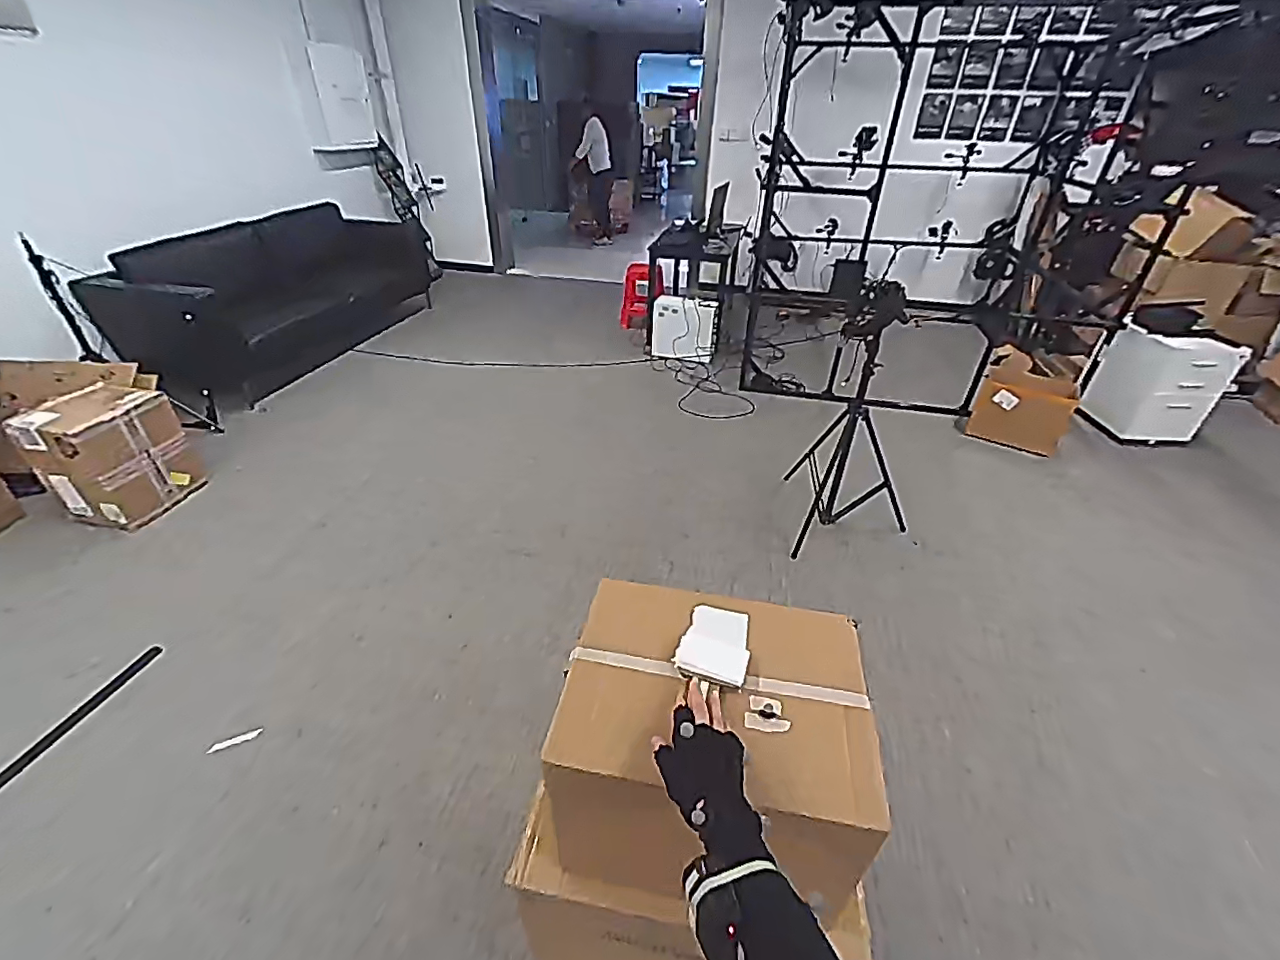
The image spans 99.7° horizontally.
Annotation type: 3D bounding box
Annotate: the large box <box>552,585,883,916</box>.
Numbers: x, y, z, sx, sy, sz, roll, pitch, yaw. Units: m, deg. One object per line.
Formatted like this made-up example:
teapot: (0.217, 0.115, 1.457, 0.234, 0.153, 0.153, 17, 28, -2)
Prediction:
large box: (0.102, 0.404, 0.843, 0.408, 0.320, 0.320, 7, 35, 7)
